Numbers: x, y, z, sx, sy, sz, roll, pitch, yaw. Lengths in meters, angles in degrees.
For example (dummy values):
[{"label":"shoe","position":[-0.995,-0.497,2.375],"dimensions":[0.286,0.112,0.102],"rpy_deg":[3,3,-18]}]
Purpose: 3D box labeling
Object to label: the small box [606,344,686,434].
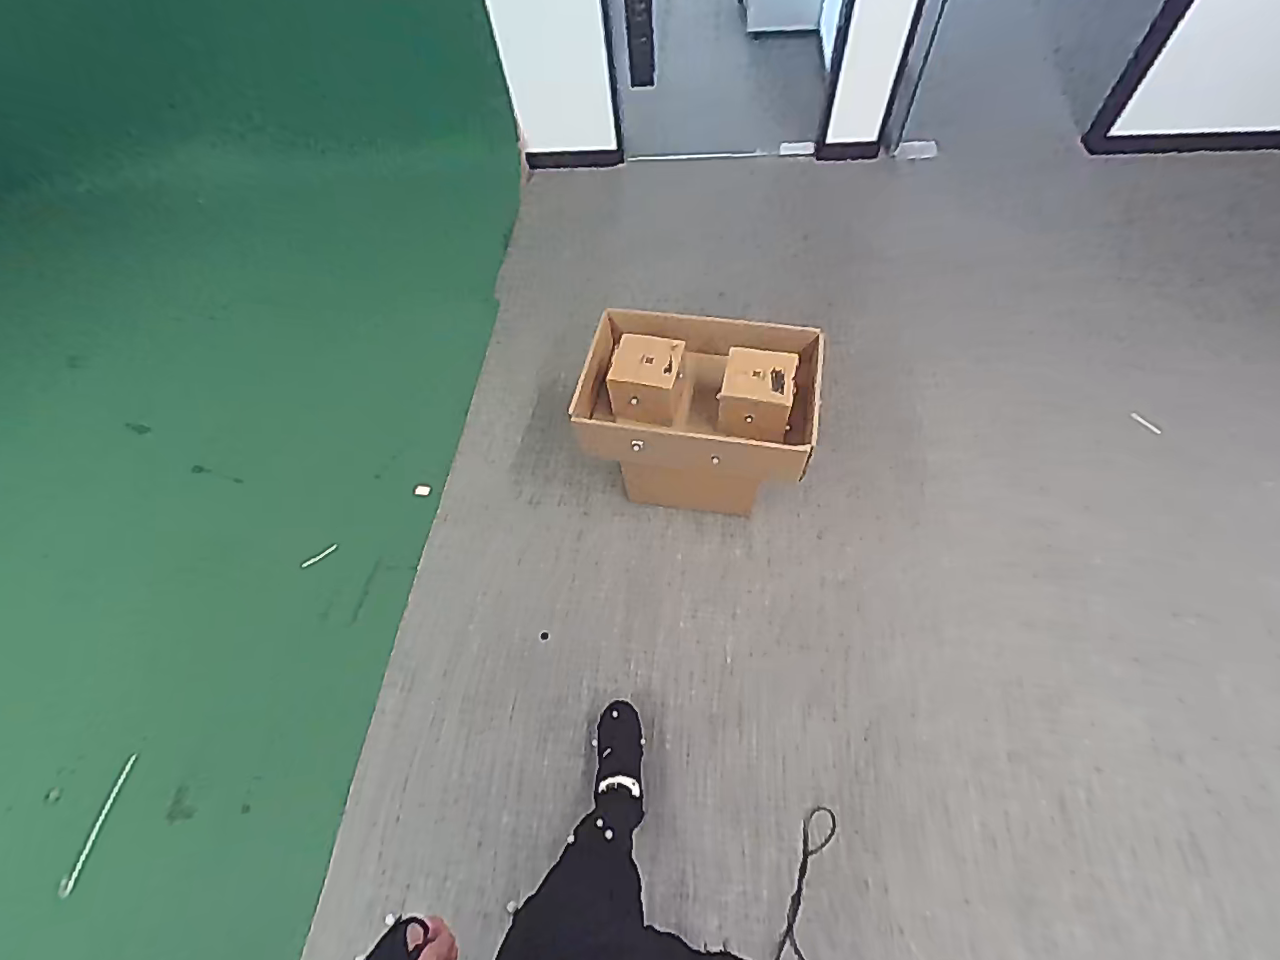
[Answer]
[{"label":"small box","position":[0.024,-0.245,1.479],"dimensions":[0.179,0.176,0.168],"rpy_deg":[10,61,12]}]
